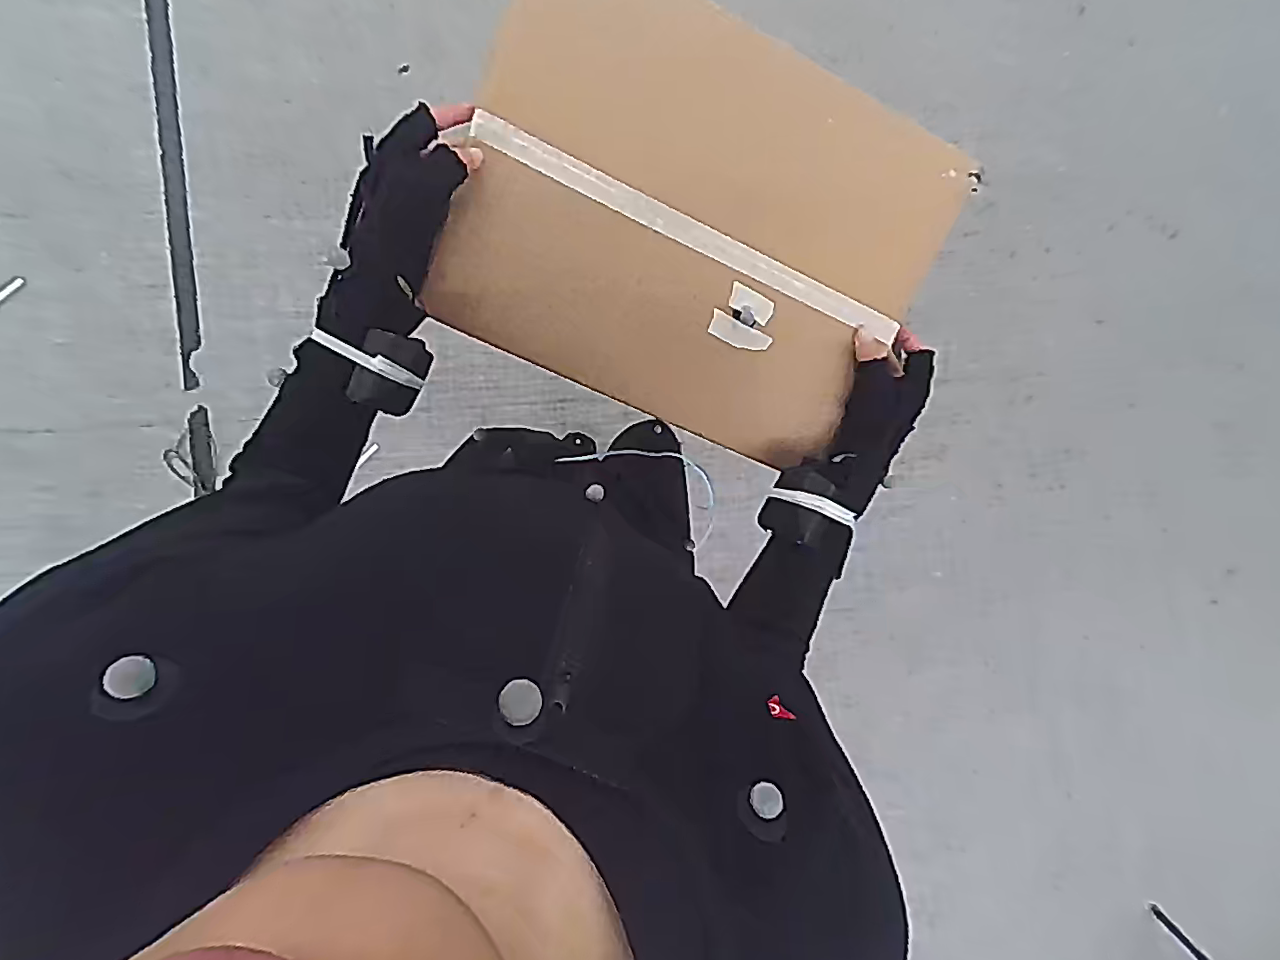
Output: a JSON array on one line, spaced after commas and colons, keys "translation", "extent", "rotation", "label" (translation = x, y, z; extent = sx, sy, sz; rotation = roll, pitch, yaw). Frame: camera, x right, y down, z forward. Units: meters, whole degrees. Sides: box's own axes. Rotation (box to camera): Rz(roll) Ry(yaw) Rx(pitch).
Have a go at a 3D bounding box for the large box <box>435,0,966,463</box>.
[{"translation": [0.041, -0.263, 0.625], "extent": [0.408, 0.320, 0.320], "rotation": [23, 104, -11], "label": "large box"}]
